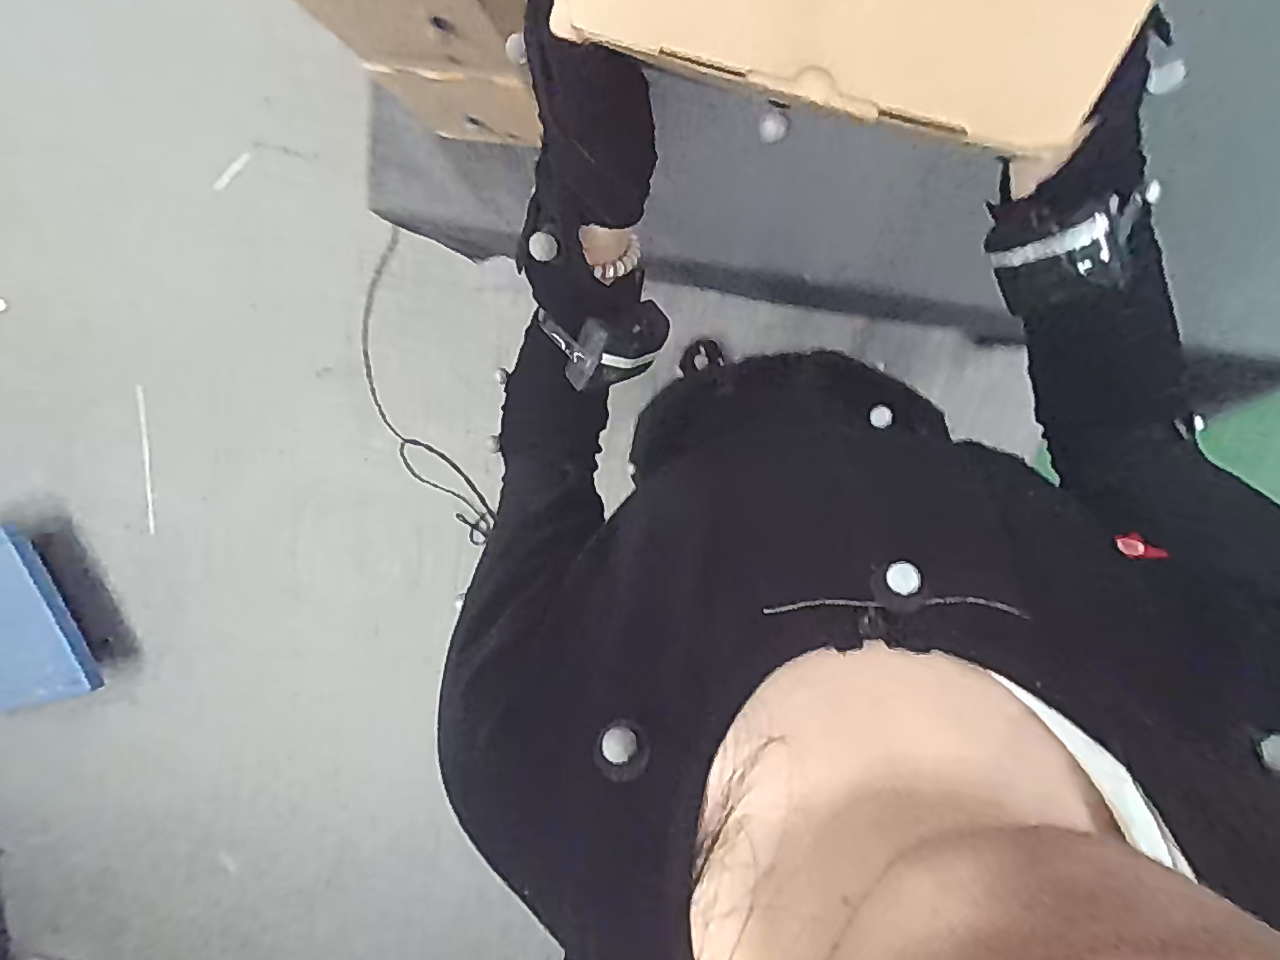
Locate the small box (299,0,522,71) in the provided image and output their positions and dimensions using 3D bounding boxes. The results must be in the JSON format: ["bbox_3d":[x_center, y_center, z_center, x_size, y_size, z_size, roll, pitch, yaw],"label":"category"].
[{"bbox_3d":[-0.190,-0.457,0.417,0.168,0.176,0.179,9,104,2],"label":"small box"}]

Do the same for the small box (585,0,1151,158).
[{"bbox_3d":[0.089,-0.238,0.196,0.168,0.176,0.179,16,124,0],"label":"small box"}]

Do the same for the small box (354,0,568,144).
[{"bbox_3d":[-0.178,-0.493,0.576,0.168,0.176,0.179,8,105,3],"label":"small box"}]
